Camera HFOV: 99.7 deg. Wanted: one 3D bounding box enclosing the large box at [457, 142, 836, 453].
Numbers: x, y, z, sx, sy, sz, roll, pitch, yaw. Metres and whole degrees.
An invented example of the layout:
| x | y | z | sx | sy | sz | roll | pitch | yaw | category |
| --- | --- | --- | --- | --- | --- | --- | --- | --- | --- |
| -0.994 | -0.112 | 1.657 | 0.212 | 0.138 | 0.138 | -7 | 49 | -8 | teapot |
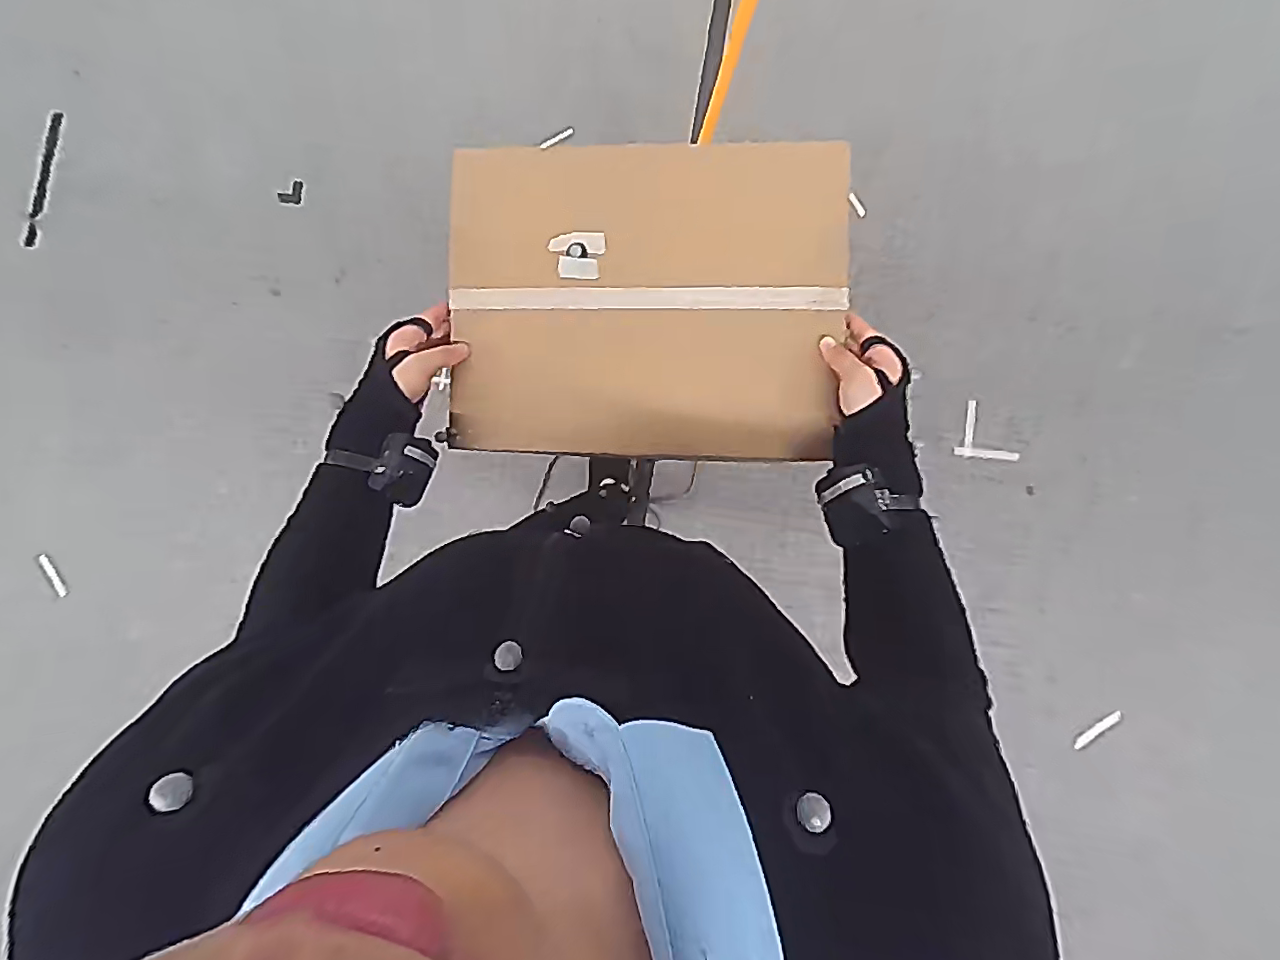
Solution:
| x | y | z | sx | sy | sz | roll | pitch | yaw | category |
| --- | --- | --- | --- | --- | --- | --- | --- | --- | --- |
| 0.017 | -0.192 | 0.713 | 0.408 | 0.320 | 0.320 | 1 | 90 | 6 | large box |
